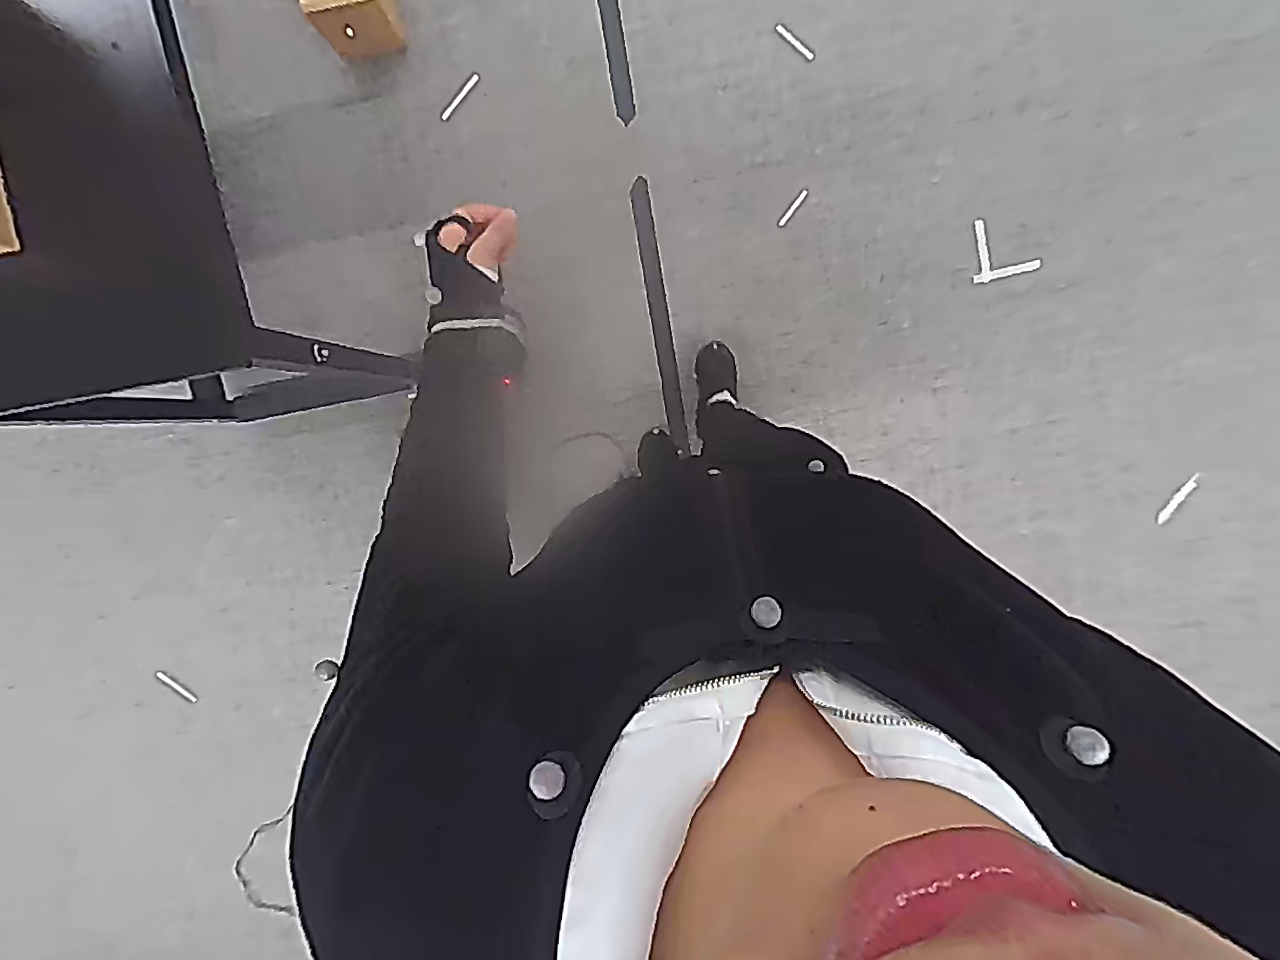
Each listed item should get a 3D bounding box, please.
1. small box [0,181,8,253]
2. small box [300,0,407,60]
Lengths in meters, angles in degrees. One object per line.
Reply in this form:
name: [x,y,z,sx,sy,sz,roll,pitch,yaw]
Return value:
small box: [-0.952,-0.377,0.664,0.179,0.176,0.168,-7,96,3]
small box: [-0.692,-1.154,1.294,0.179,0.176,0.168,-11,97,3]
